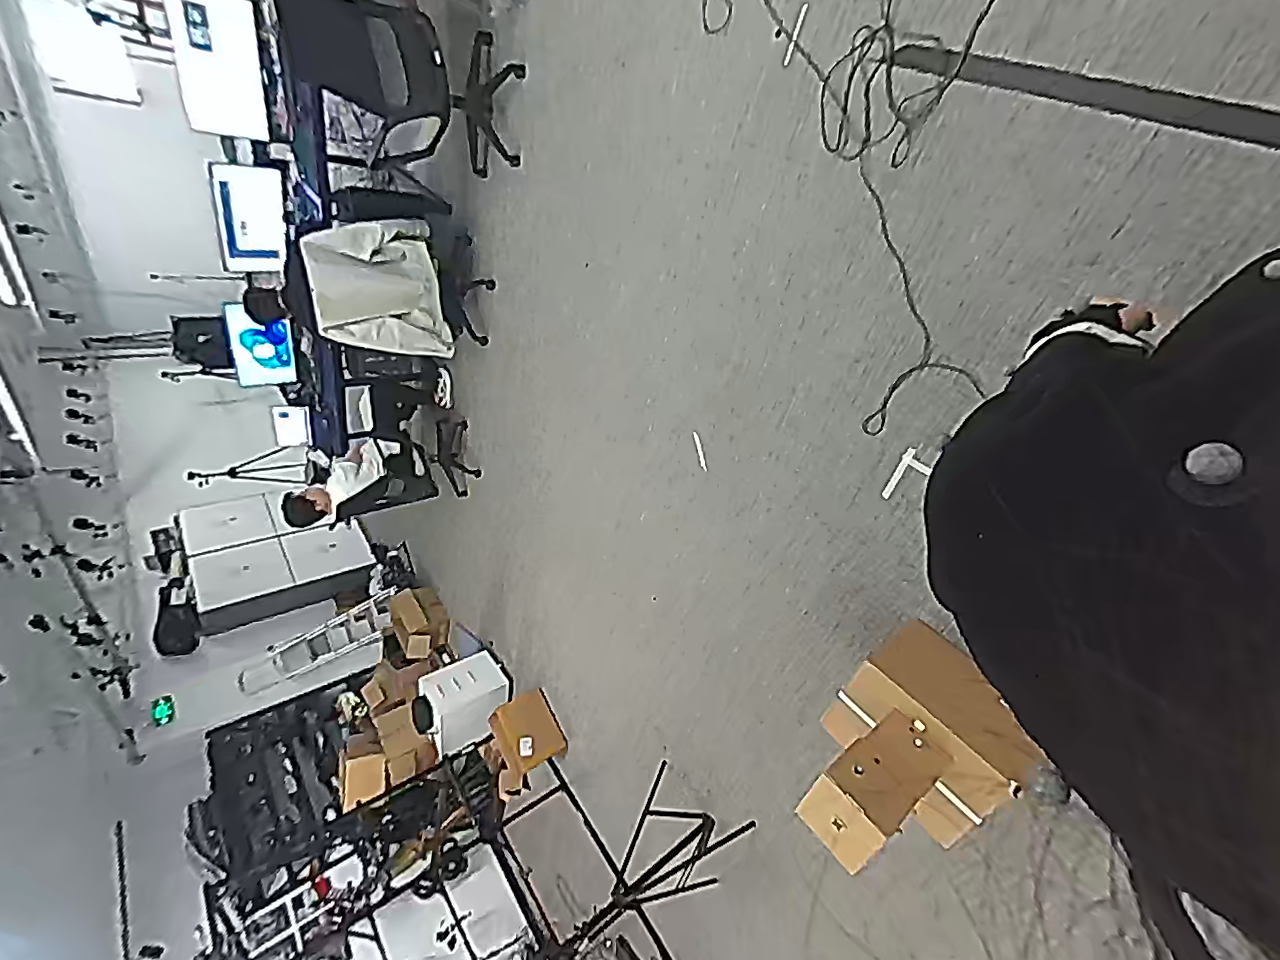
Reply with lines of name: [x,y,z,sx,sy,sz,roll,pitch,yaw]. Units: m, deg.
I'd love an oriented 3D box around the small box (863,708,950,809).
small box: [0.628,0.708,1.339,0.168,0.176,0.179,41,130,35]

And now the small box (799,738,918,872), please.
small box: [0.503,0.733,1.238,0.168,0.176,0.179,41,132,36]
